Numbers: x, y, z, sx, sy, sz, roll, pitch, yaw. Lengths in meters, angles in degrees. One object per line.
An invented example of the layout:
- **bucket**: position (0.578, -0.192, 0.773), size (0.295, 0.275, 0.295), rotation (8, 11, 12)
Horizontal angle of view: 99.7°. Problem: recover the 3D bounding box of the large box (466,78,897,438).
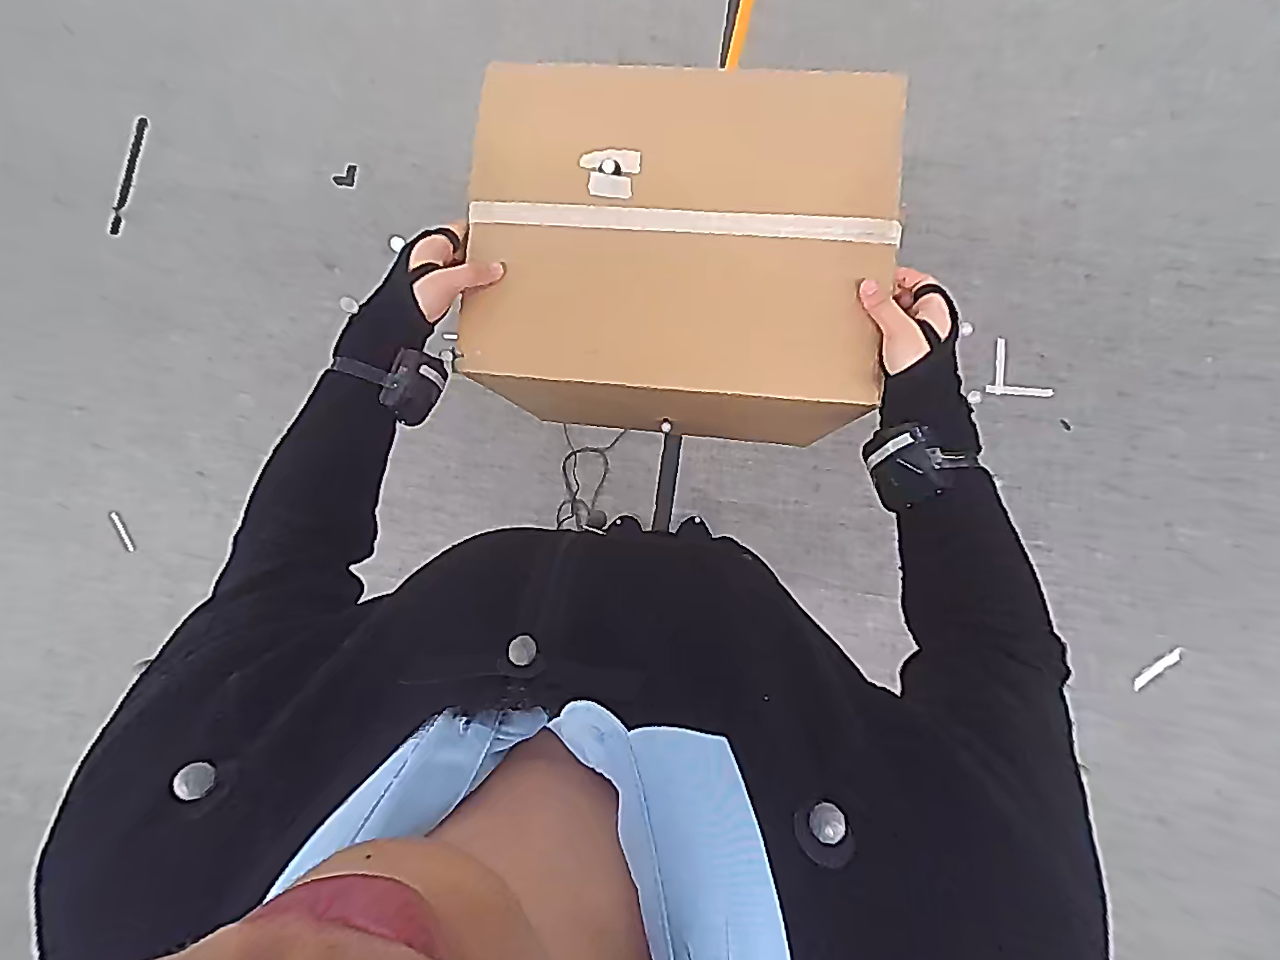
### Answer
- **large box**: position (0.053, -0.232, 0.670), size (0.408, 0.320, 0.320), rotation (5, 86, 7)
